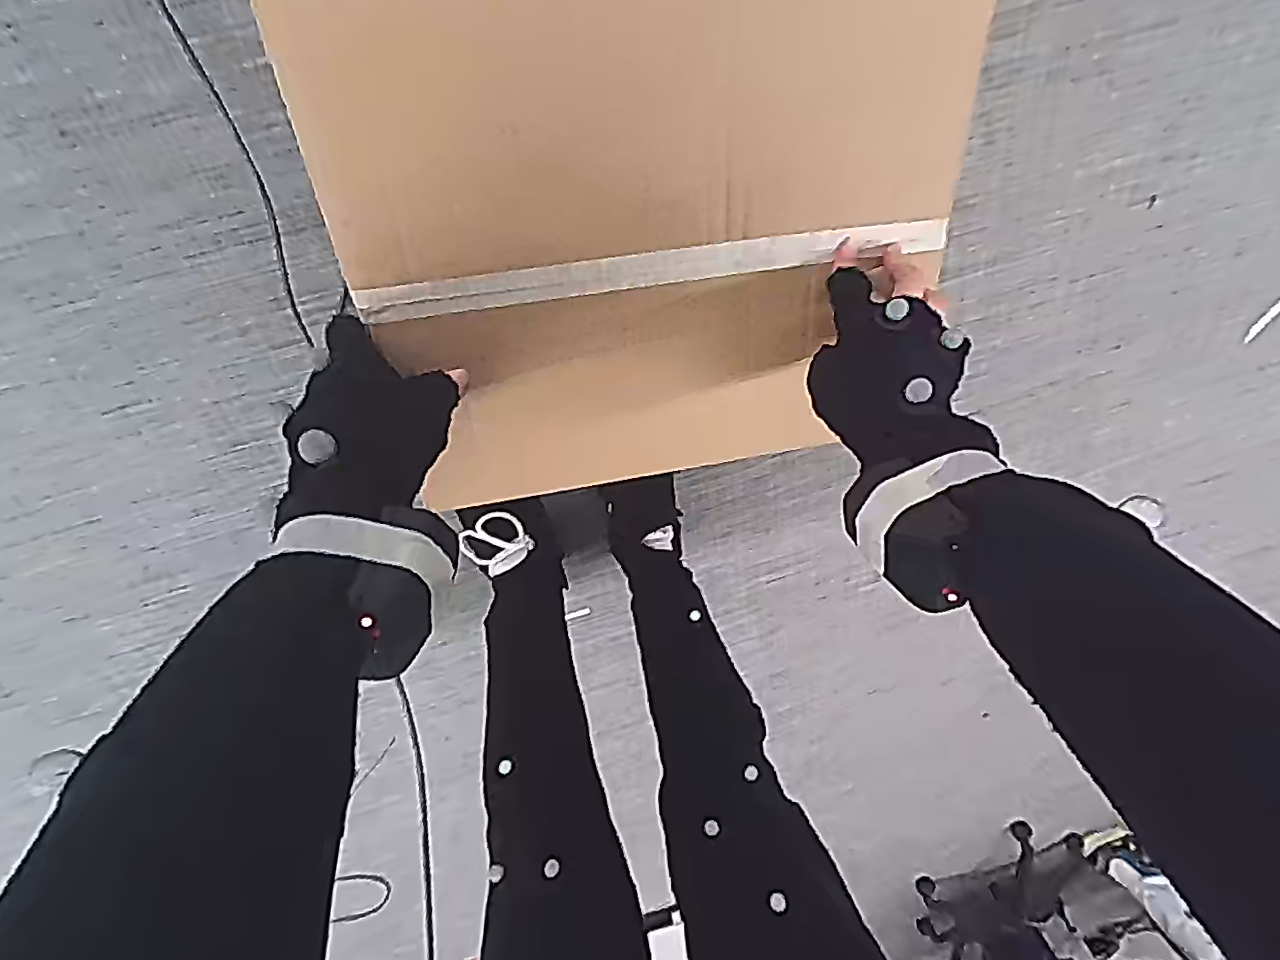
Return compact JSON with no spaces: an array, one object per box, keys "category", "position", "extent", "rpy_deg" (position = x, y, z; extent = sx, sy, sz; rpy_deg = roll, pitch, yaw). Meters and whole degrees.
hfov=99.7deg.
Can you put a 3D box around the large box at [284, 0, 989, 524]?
[{"category":"large box","position":[-0.005,-0.203,0.493],"extent":[0.408,0.320,0.320],"rpy_deg":[-10,123,-8]}]
